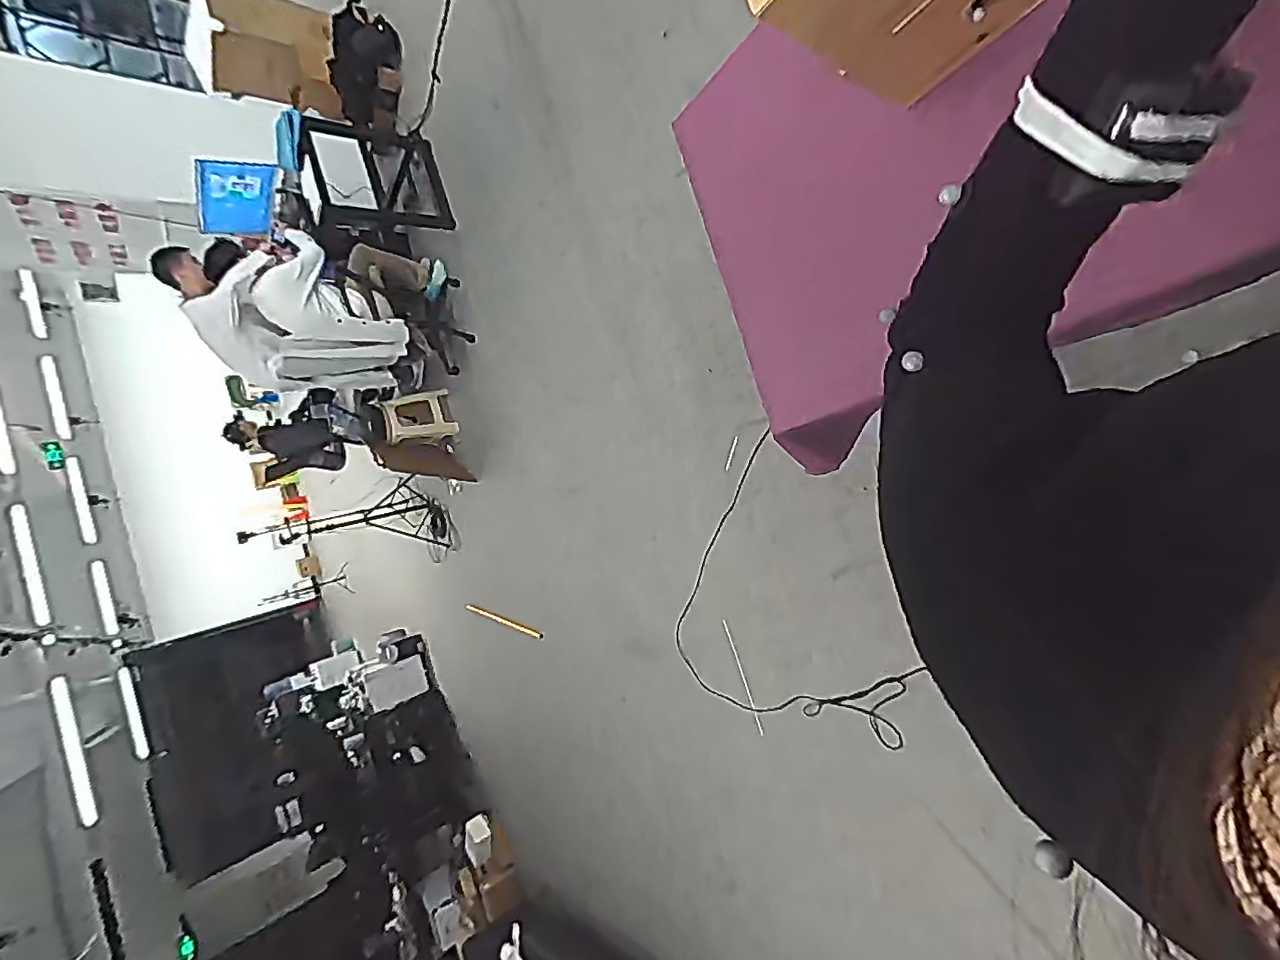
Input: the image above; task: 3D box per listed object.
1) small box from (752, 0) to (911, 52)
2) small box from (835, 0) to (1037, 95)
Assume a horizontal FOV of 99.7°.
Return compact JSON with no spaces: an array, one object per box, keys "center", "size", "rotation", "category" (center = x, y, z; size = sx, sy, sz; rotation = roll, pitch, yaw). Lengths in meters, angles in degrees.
[{"center":[0.193,-0.539,0.492],"size":[0.168,0.176,0.179],"rotation":[-21,86,50],"category":"small box"},{"center":[0.312,-0.571,0.600],"size":[0.168,0.176,0.179],"rotation":[-21,85,50],"category":"small box"}]
